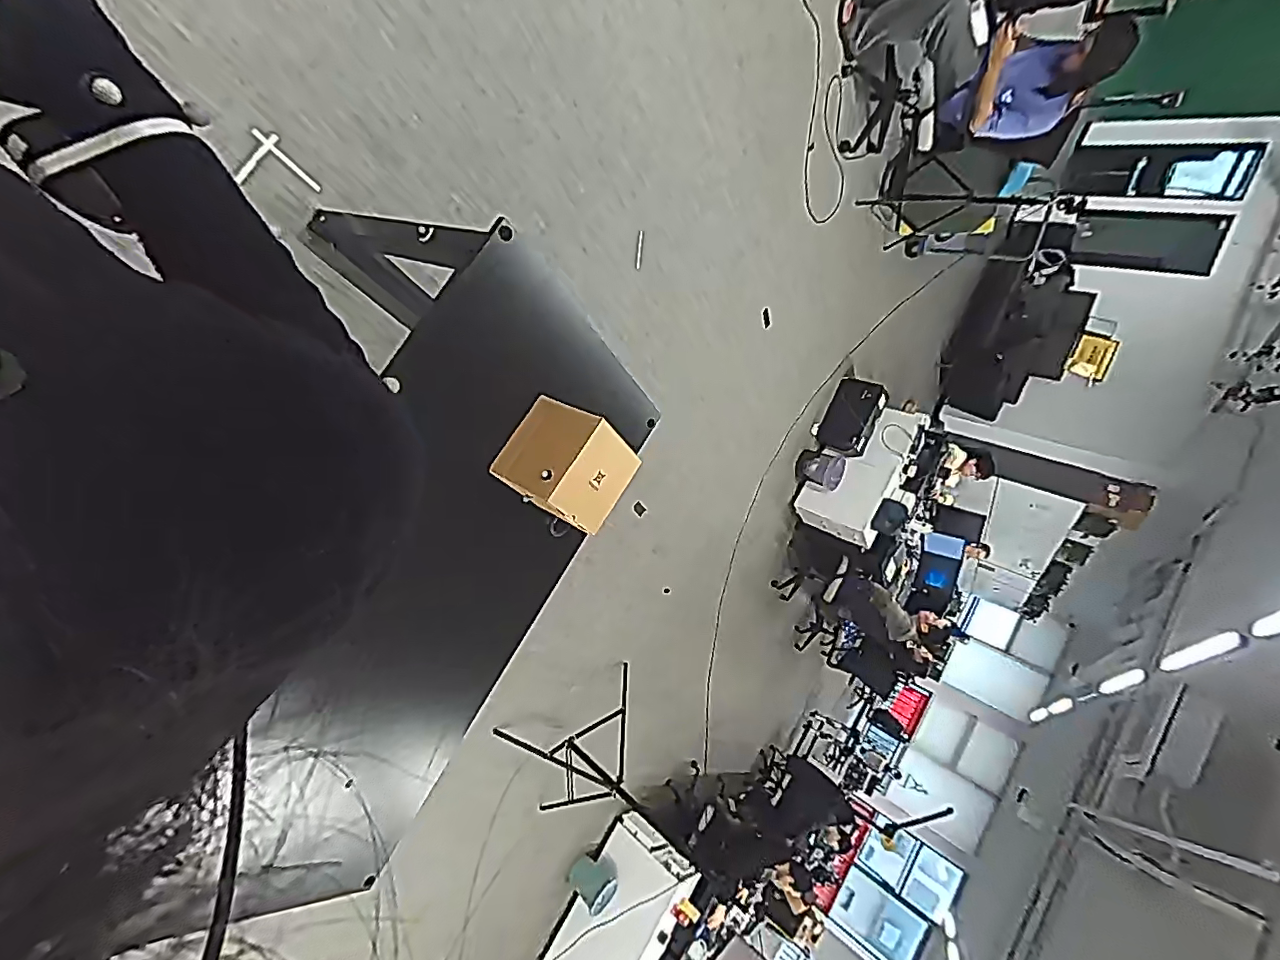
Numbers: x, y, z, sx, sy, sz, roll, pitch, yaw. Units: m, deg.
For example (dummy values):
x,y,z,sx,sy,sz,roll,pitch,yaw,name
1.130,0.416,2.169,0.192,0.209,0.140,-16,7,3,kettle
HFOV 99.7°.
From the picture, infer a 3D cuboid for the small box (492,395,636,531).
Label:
x,y,z,sx,sy,sz,roll,pitch,yaw,name
-0.144,-0.036,1.022,0.179,0.176,0.168,-58,144,-10,small box
